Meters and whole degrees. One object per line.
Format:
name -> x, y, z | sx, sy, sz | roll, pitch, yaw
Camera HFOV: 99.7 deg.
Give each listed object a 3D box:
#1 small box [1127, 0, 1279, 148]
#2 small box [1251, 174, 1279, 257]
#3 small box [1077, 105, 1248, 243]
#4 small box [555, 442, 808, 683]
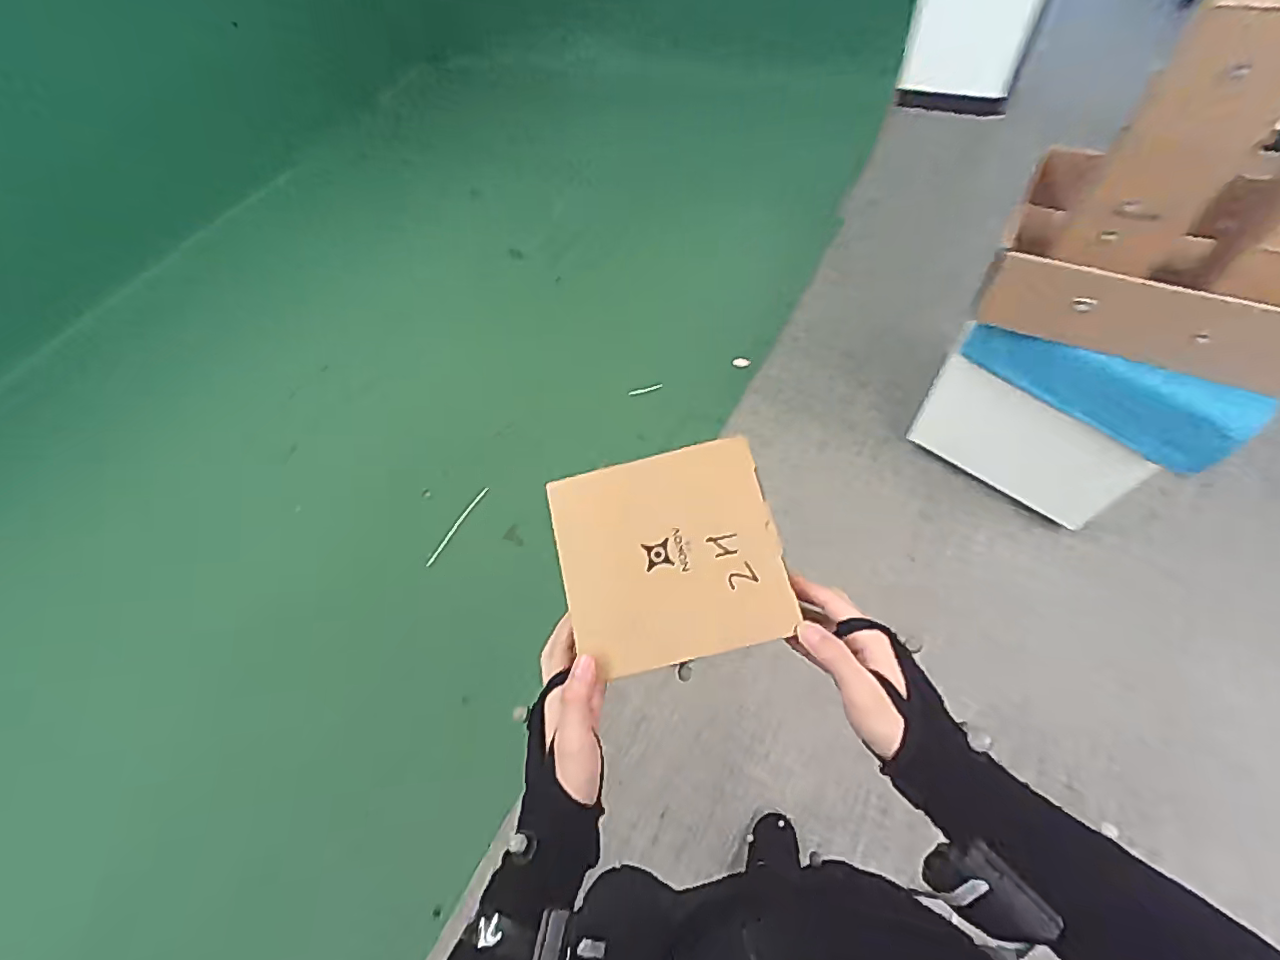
small box -> 0.928, -0.652, 0.848 | 0.179, 0.176, 0.168 | 23, 63, 21
small box -> 1.184, -0.481, 0.897 | 0.168, 0.176, 0.179 | 24, 64, 21
small box -> 0.947, -0.573, 0.990 | 0.168, 0.176, 0.179 | 24, 65, 21
small box -> 0.036, 0.087, 0.507 | 0.179, 0.176, 0.168 | -14, 72, 2
